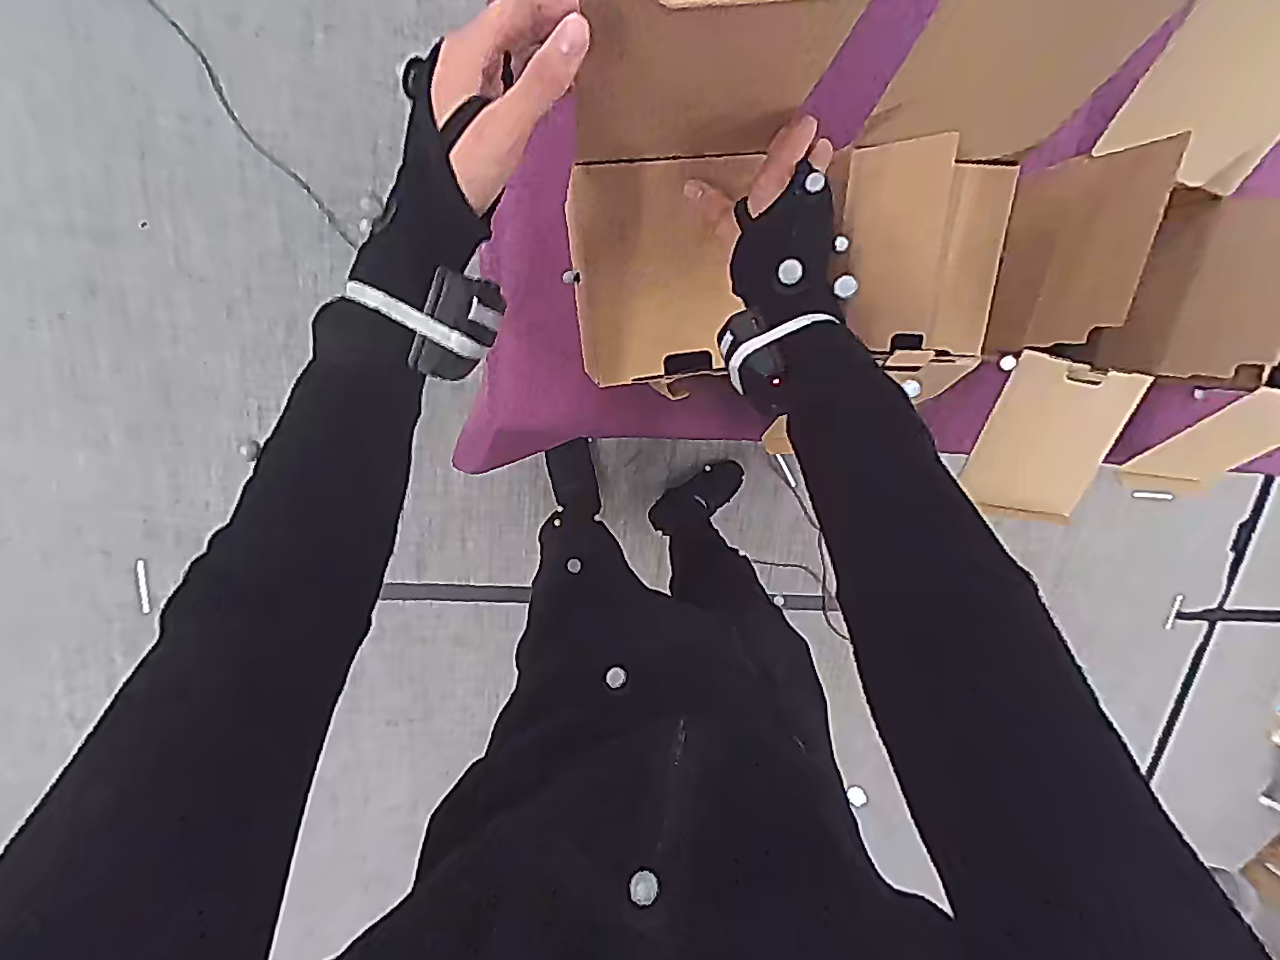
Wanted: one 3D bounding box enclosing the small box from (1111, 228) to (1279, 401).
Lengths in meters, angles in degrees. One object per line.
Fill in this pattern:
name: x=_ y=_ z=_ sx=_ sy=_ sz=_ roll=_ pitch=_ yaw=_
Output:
small box: x=0.731 y=-0.194 z=0.651 sx=0.168 sy=0.176 sz=0.179 roll=6 pitch=105 yaw=-11
